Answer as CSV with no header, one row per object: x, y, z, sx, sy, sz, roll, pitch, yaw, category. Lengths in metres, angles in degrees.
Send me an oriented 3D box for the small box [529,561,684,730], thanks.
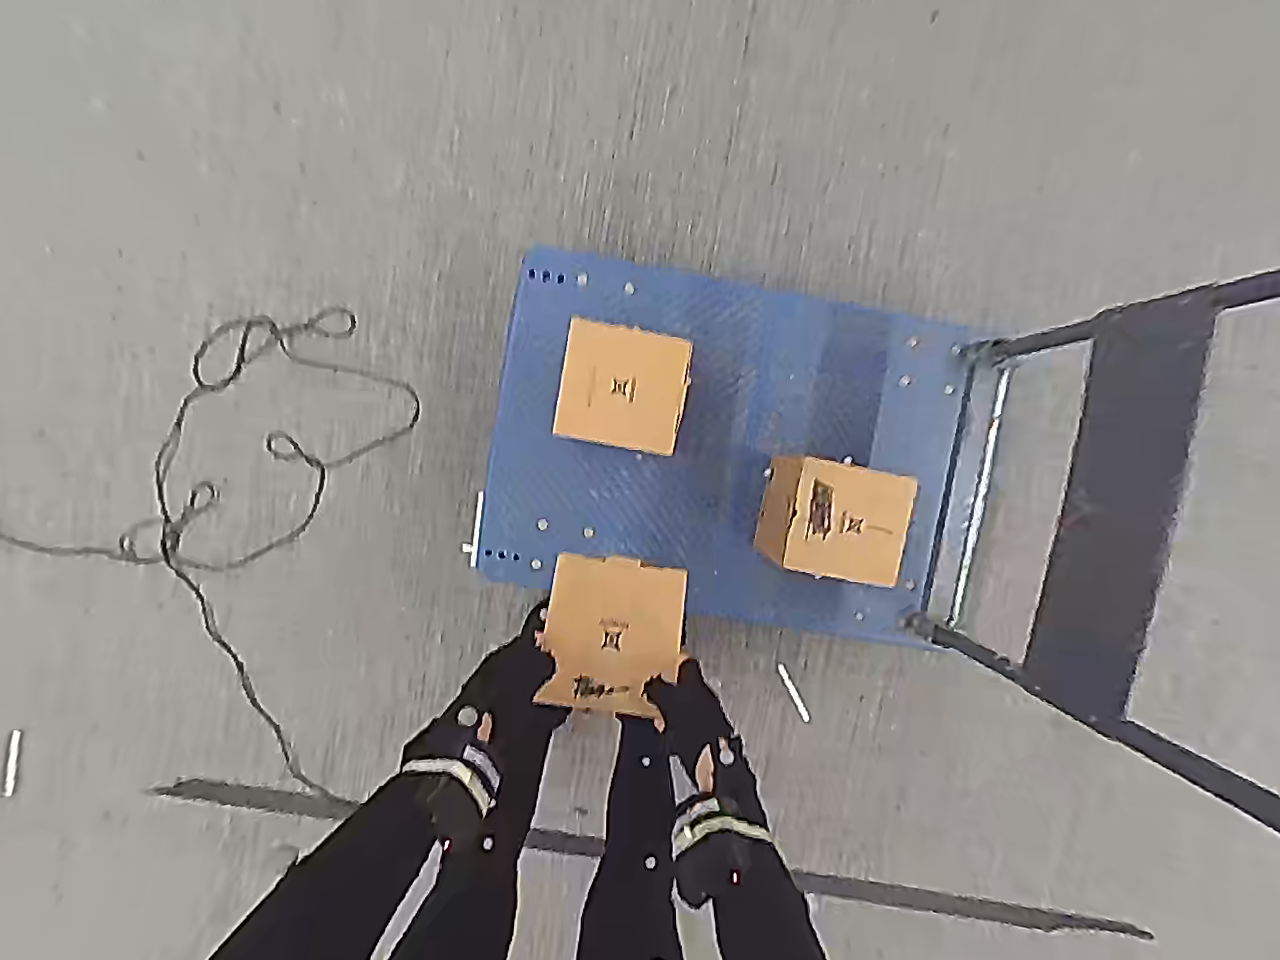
-0.045,0.222,0.717,0.168,0.176,0.179,9,68,-3,small box

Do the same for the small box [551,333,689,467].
-0.031,-0.118,0.853,0.179,0.176,0.168,10,91,-2,small box

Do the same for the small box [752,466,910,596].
0.295,0.074,0.873,0.179,0.176,0.168,11,92,-3,small box
